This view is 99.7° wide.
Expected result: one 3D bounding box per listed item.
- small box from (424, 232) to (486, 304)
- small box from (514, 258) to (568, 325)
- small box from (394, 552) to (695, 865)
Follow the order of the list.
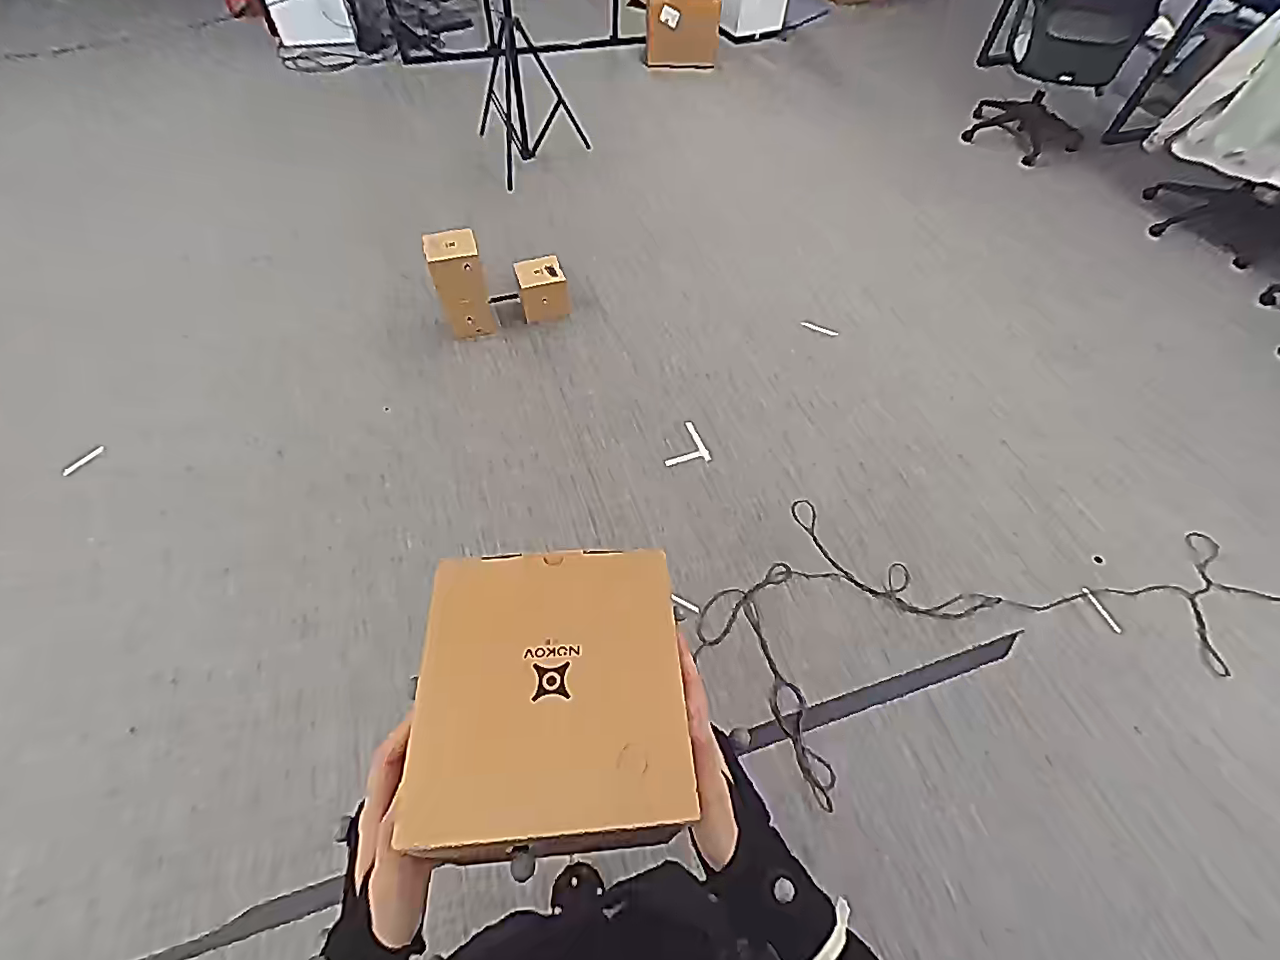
[{"bbox_3d":[-0.661,-0.762,1.949,0.179,0.176,0.168,-15,57,-11],"label":"small box"},{"bbox_3d":[-0.387,-0.746,2.146,0.179,0.176,0.168,-16,58,-11],"label":"small box"},{"bbox_3d":[-0.060,0.173,0.402,0.168,0.176,0.179,-2,52,-6],"label":"small box"}]
